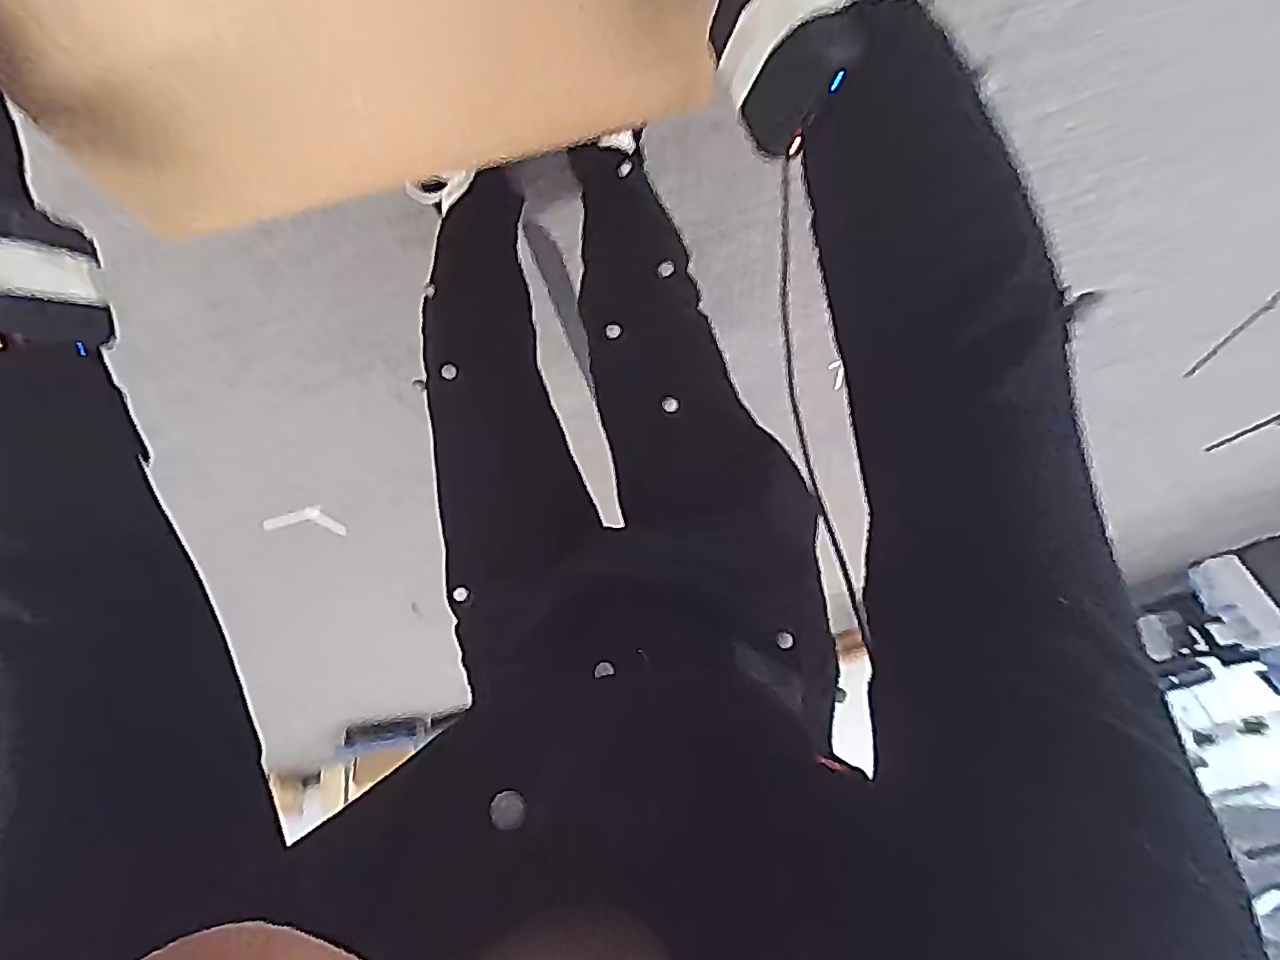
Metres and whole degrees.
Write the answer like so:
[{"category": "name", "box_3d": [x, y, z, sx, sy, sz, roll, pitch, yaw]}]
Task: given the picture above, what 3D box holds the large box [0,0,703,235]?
[{"category": "large box", "box_3d": [-0.195, -0.419, 0.327, 0.408, 0.320, 0.320, -12, 147, 3]}]
